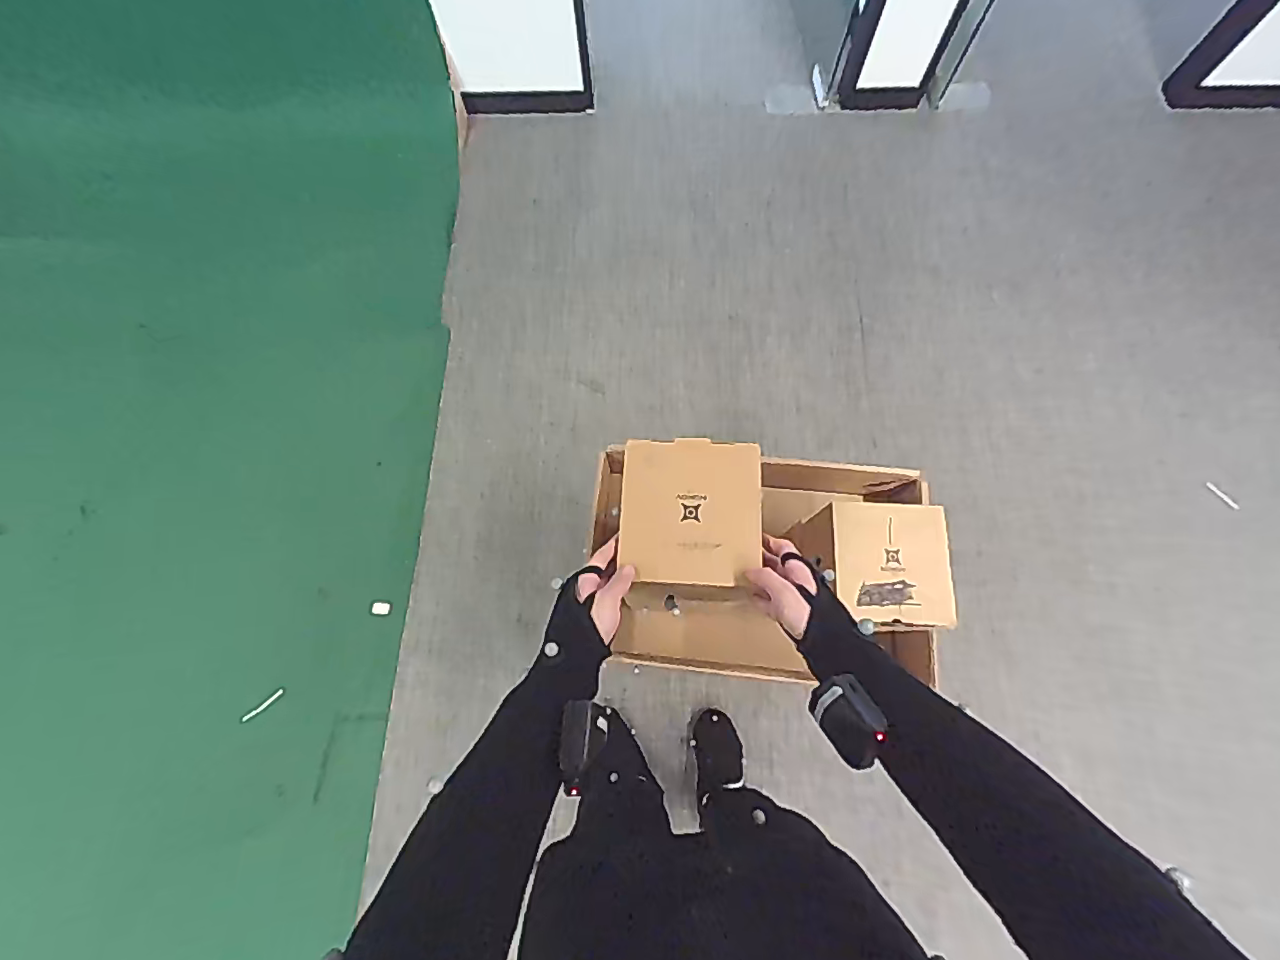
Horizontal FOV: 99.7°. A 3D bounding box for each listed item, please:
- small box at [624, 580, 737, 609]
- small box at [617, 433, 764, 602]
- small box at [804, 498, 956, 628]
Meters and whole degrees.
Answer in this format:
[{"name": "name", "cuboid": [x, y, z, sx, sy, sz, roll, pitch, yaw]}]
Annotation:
[{"name": "small box", "cuboid": [0.065, 0.104, 0.859, 0.168, 0.176, 0.179, 3, 72, 3]}, {"name": "small box", "cuboid": [0.063, 0.056, 0.703, 0.168, 0.176, 0.179, 4, 72, 3]}, {"name": "small box", "cuboid": [0.360, 0.136, 0.843, 0.168, 0.176, 0.179, 3, 73, 2]}]
